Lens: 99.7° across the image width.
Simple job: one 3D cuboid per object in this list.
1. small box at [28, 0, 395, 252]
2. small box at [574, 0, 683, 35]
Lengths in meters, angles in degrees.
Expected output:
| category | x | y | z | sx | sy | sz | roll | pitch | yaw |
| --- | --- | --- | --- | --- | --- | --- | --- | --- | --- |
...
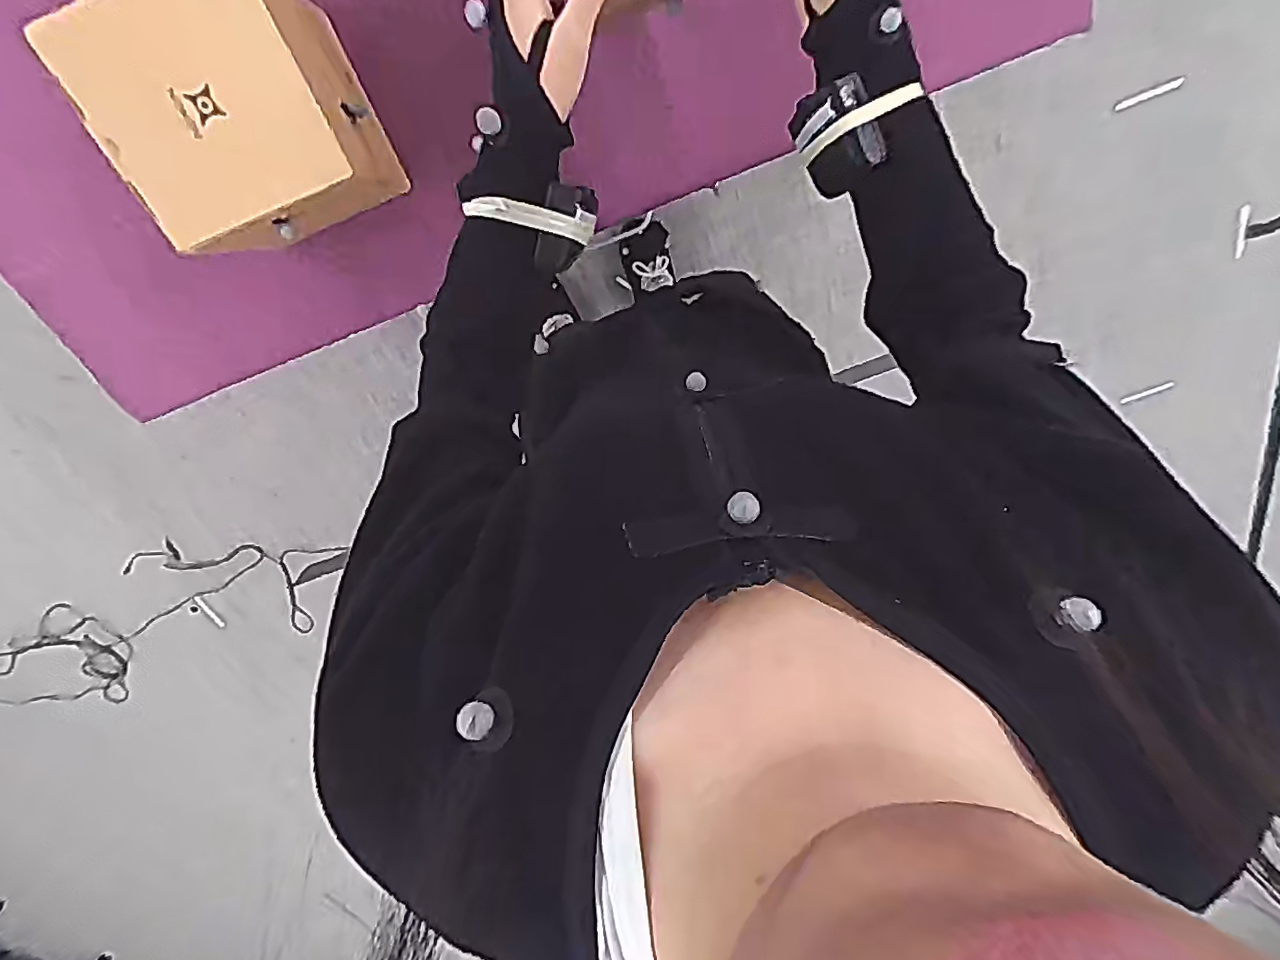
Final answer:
| category | x | y | z | sx | sy | sz | roll | pitch | yaw |
| --- | --- | --- | --- | --- | --- | --- | --- | --- | --- |
| small box | -0.355 | -0.330 | 0.500 | 0.179 | 0.176 | 0.168 | -21 | 116 | 5 |
| small box | 0.006 | -0.448 | 0.366 | 0.168 | 0.176 | 0.179 | -19 | 122 | 6 |
